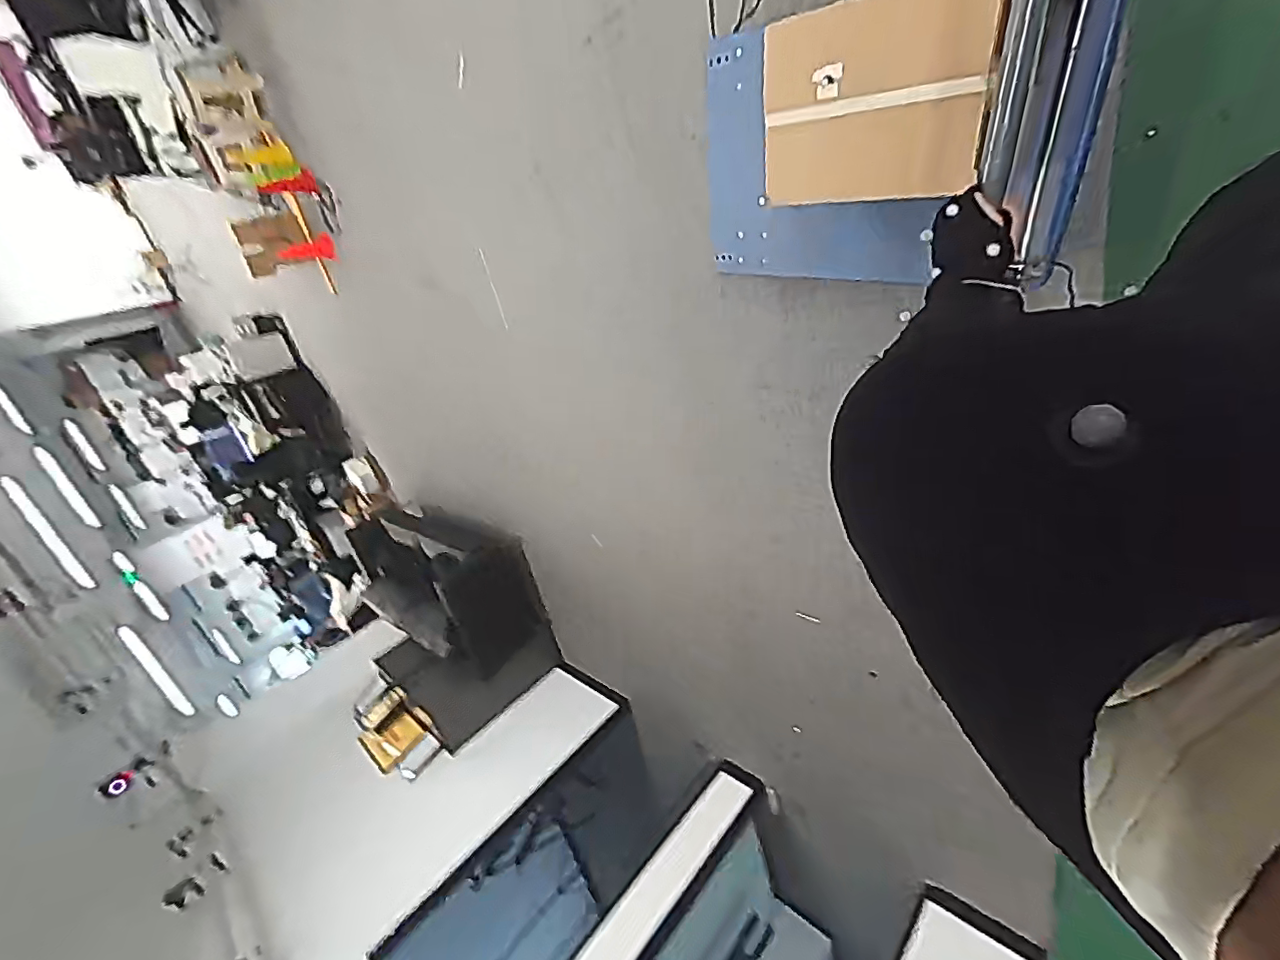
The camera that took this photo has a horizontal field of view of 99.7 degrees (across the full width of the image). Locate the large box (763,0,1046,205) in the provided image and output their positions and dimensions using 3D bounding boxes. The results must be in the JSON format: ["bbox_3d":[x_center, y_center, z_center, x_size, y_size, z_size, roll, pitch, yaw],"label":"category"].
[{"bbox_3d":[0.498,-0.742,1.057,0.408,0.320,0.320,21,130,39],"label":"large box"}]
